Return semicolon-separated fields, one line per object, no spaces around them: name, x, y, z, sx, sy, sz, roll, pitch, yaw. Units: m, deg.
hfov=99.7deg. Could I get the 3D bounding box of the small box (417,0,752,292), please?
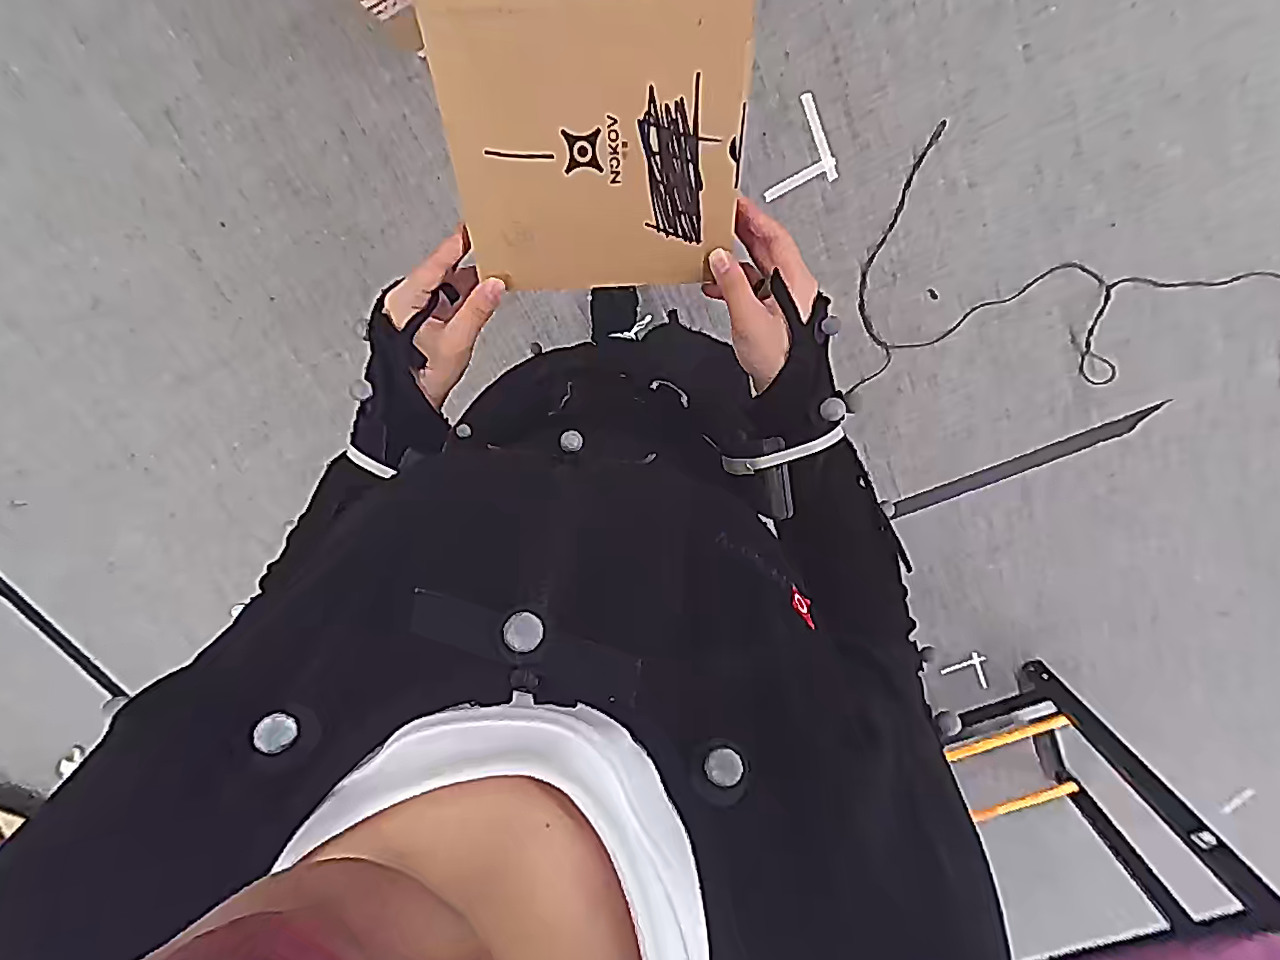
small box;-0.031;-0.251;0.386;0.179;0.176;0.168;-3;133;-1
